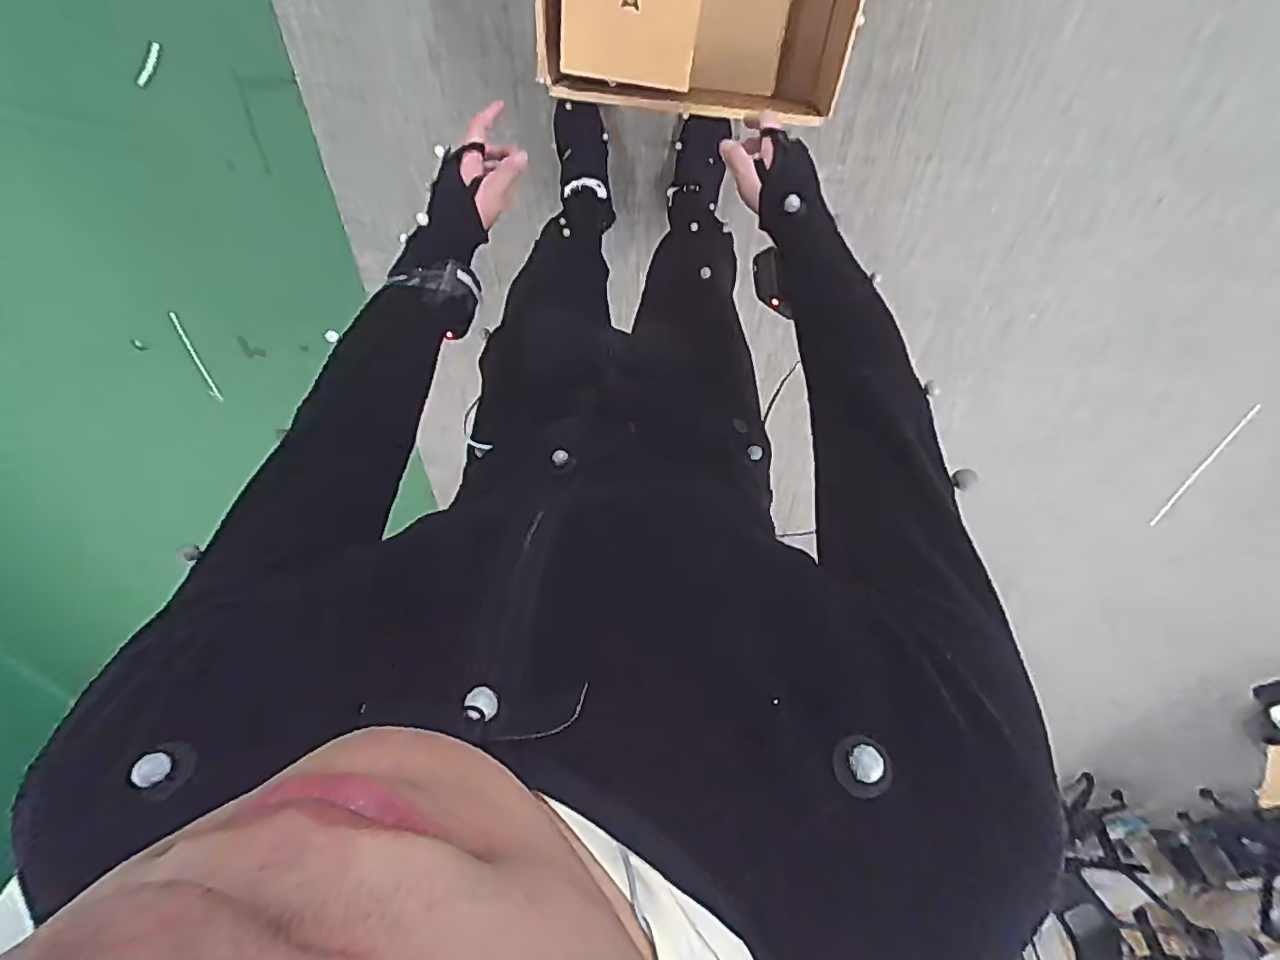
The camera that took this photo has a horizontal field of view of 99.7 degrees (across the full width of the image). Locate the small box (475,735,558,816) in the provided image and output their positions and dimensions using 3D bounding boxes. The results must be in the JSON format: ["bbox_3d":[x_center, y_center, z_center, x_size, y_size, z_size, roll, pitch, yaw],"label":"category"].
[{"bbox_3d":[-0.381,0.931,1.704,0.179,0.176,0.168,-24,126,24],"label":"small box"}]
